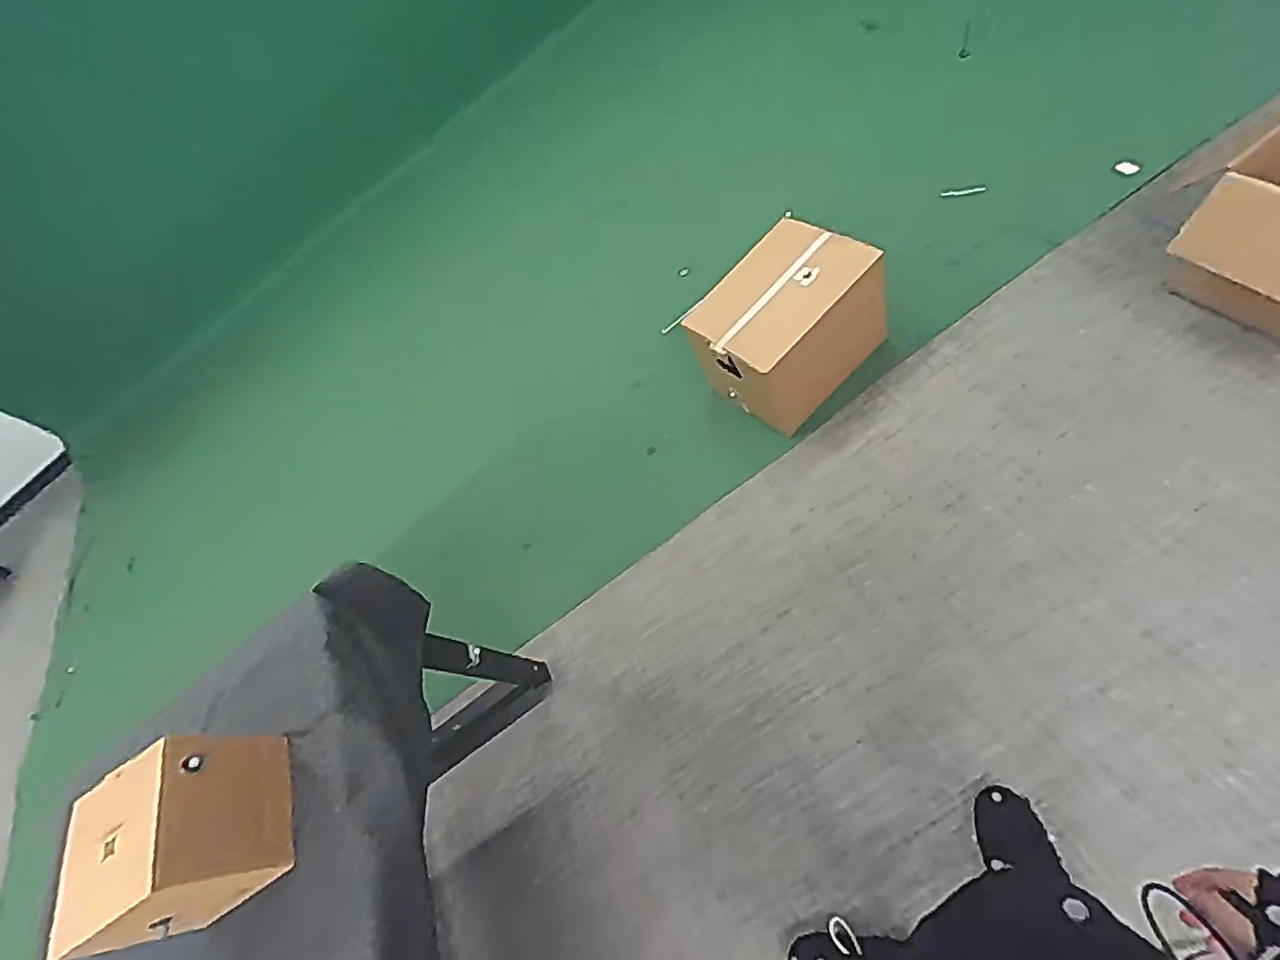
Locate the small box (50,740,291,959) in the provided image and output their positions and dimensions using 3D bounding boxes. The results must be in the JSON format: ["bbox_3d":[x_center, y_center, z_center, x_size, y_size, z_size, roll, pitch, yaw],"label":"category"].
[{"bbox_3d":[-0.580,0.457,0.693,0.168,0.176,0.179,-36,54,7],"label":"small box"}]
